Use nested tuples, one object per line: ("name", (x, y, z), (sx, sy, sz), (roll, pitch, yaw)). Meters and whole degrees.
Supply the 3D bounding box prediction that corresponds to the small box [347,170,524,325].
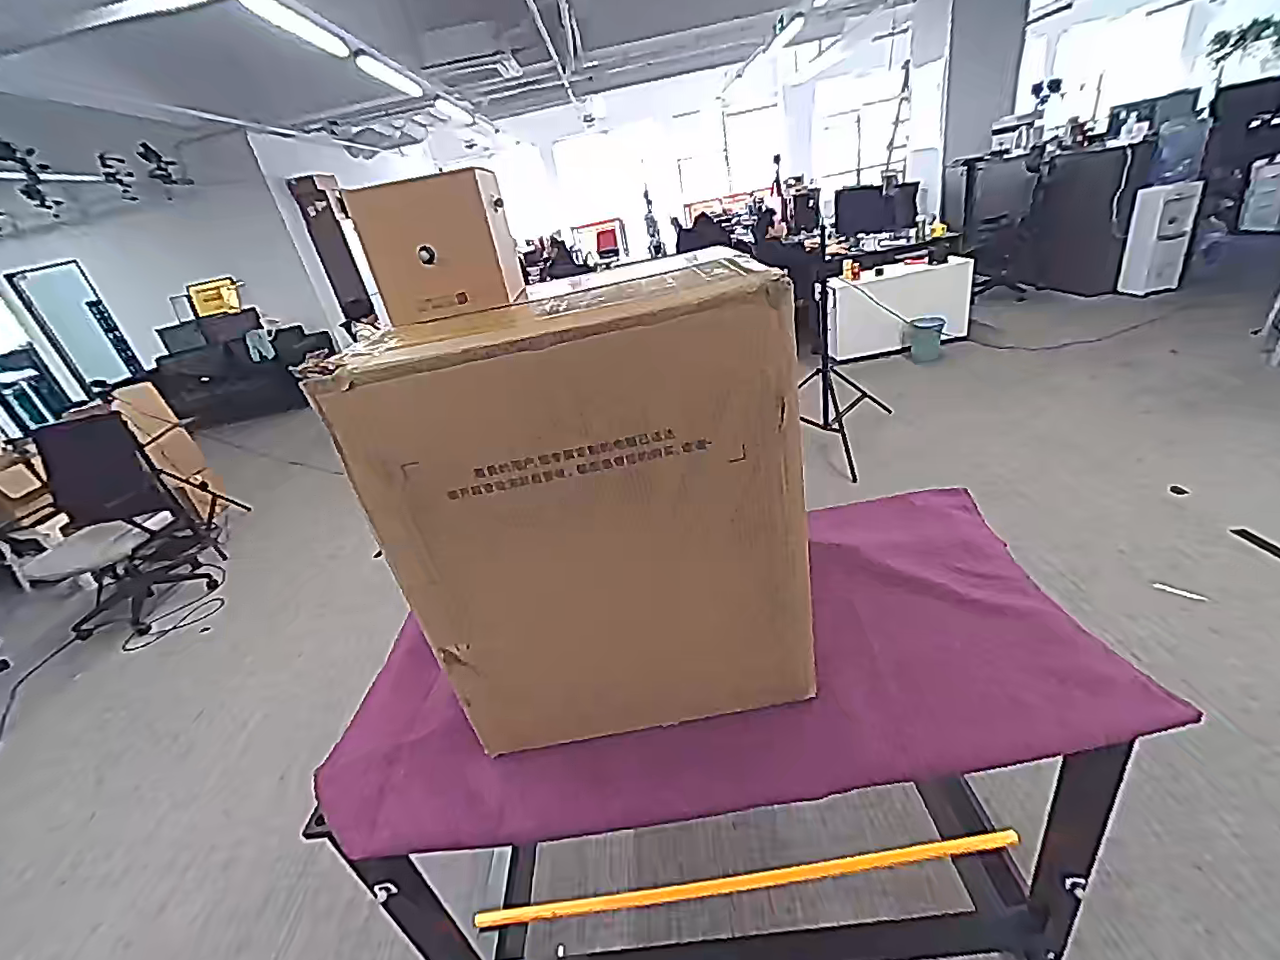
("small box", (-0.270, -0.325, 0.765), (0.168, 0.176, 0.179), (-10, 27, 0))
